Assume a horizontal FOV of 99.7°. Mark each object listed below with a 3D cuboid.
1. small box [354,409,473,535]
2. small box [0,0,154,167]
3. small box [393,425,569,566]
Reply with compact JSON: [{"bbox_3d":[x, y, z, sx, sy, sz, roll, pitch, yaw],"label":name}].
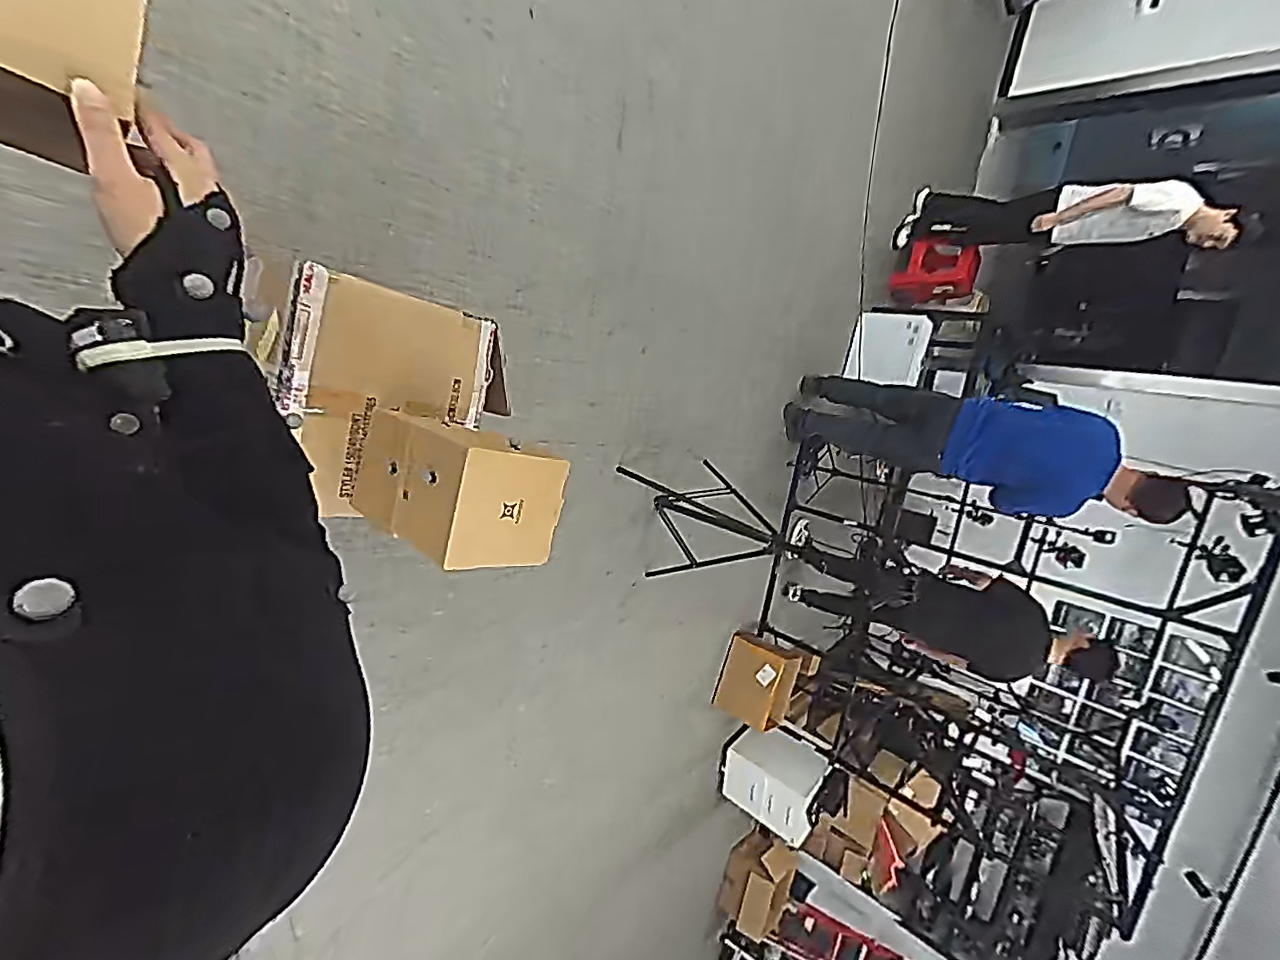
[{"bbox_3d":[-0.356,-0.012,0.912,0.168,0.176,0.179,10,98,-50],"label":"small box"},{"bbox_3d":[-0.417,-0.322,0.324,0.179,0.176,0.168,9,92,-49],"label":"small box"},{"bbox_3d":[-0.239,0.020,0.803,0.179,0.176,0.168,6,100,-50],"label":"small box"}]
